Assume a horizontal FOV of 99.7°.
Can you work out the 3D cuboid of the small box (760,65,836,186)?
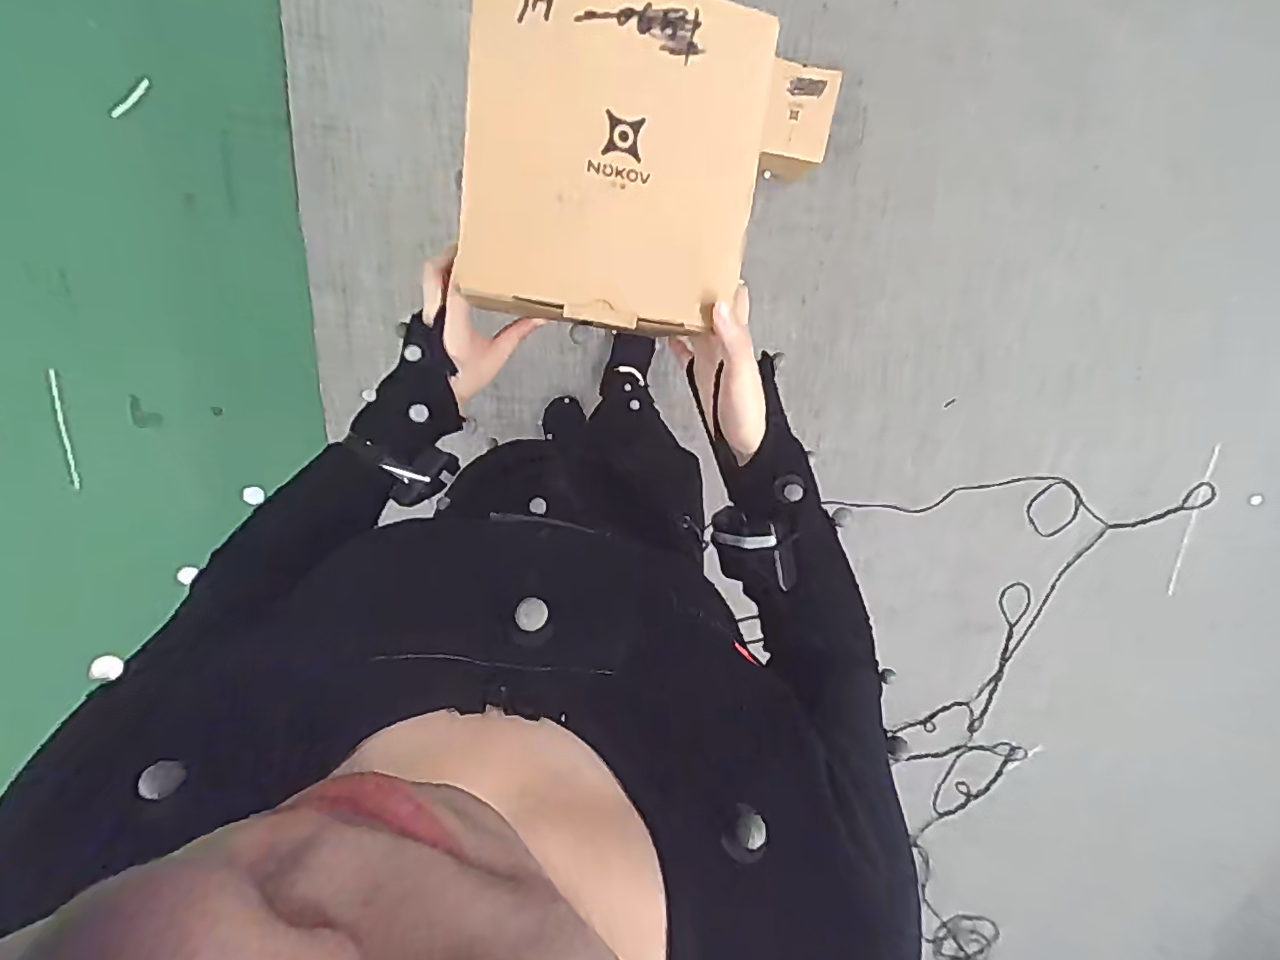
[{"bbox_3d":[0.311,-0.792,1.219,0.168,0.176,0.179,8,106,-6],"label":"small box"}]

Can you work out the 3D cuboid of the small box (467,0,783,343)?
[{"bbox_3d":[-0.026,-0.199,0.383,0.168,0.176,0.179,4,104,-15],"label":"small box"}]
